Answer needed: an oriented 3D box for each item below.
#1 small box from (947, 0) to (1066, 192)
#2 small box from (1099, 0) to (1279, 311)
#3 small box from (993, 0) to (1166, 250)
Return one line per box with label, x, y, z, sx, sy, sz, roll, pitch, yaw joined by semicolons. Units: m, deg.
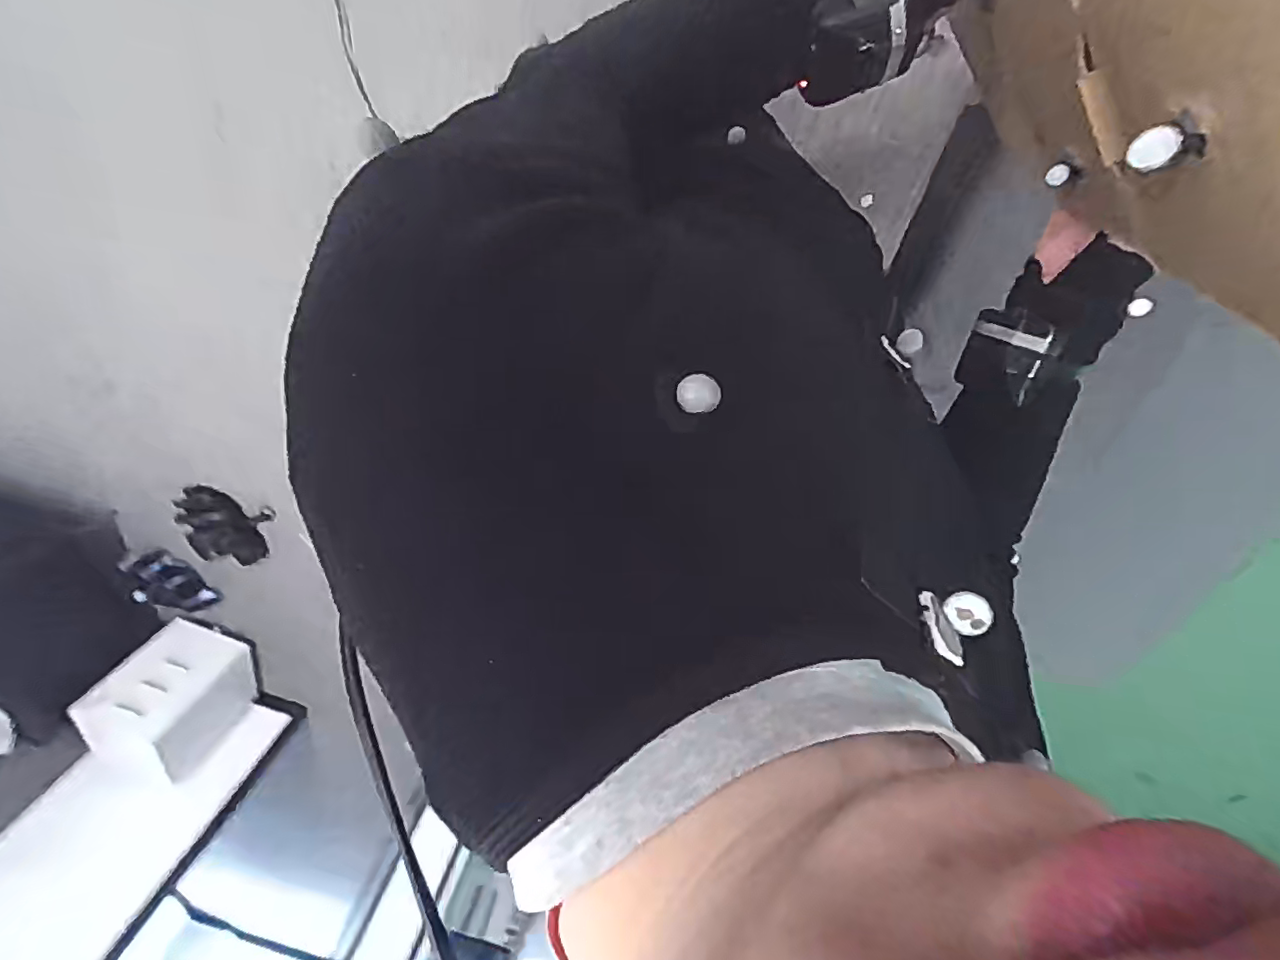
small box;0.352;-0.350;0.386;0.179;0.176;0.168;-28;113;36
small box;0.260;-0.153;0.143;0.179;0.176;0.168;-23;116;34
small box;0.303;-0.252;0.266;0.179;0.176;0.168;-27;115;33
